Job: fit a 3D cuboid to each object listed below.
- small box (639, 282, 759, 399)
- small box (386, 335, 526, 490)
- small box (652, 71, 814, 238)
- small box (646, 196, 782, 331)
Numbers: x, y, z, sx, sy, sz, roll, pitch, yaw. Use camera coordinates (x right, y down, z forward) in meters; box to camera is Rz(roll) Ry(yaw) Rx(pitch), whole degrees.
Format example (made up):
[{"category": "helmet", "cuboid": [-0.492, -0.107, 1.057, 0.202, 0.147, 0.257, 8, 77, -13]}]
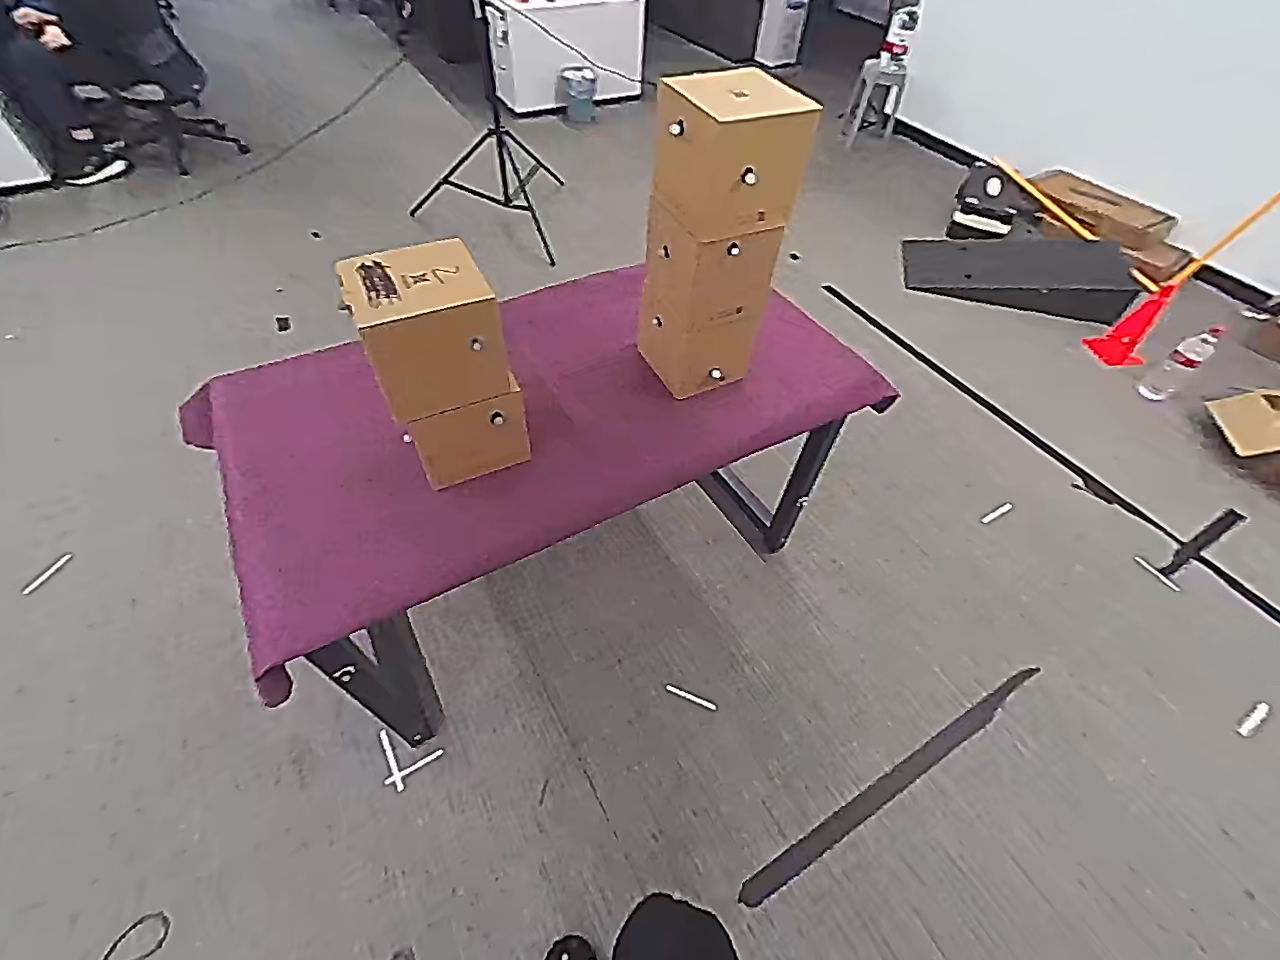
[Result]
[{"category": "small box", "cuboid": [0.107, -0.294, 1.086, 0.168, 0.176, 0.179, -22, 56, -19]}, {"category": "small box", "cuboid": [-0.302, -0.113, 0.917, 0.179, 0.176, 0.168, -21, 55, -18]}, {"category": "small box", "cuboid": [0.129, -0.488, 0.823, 0.168, 0.176, 0.179, -20, 55, -17]}, {"category": "small box", "cuboid": [0.117, -0.392, 0.955, 0.168, 0.176, 0.179, -20, 55, -17]}]
